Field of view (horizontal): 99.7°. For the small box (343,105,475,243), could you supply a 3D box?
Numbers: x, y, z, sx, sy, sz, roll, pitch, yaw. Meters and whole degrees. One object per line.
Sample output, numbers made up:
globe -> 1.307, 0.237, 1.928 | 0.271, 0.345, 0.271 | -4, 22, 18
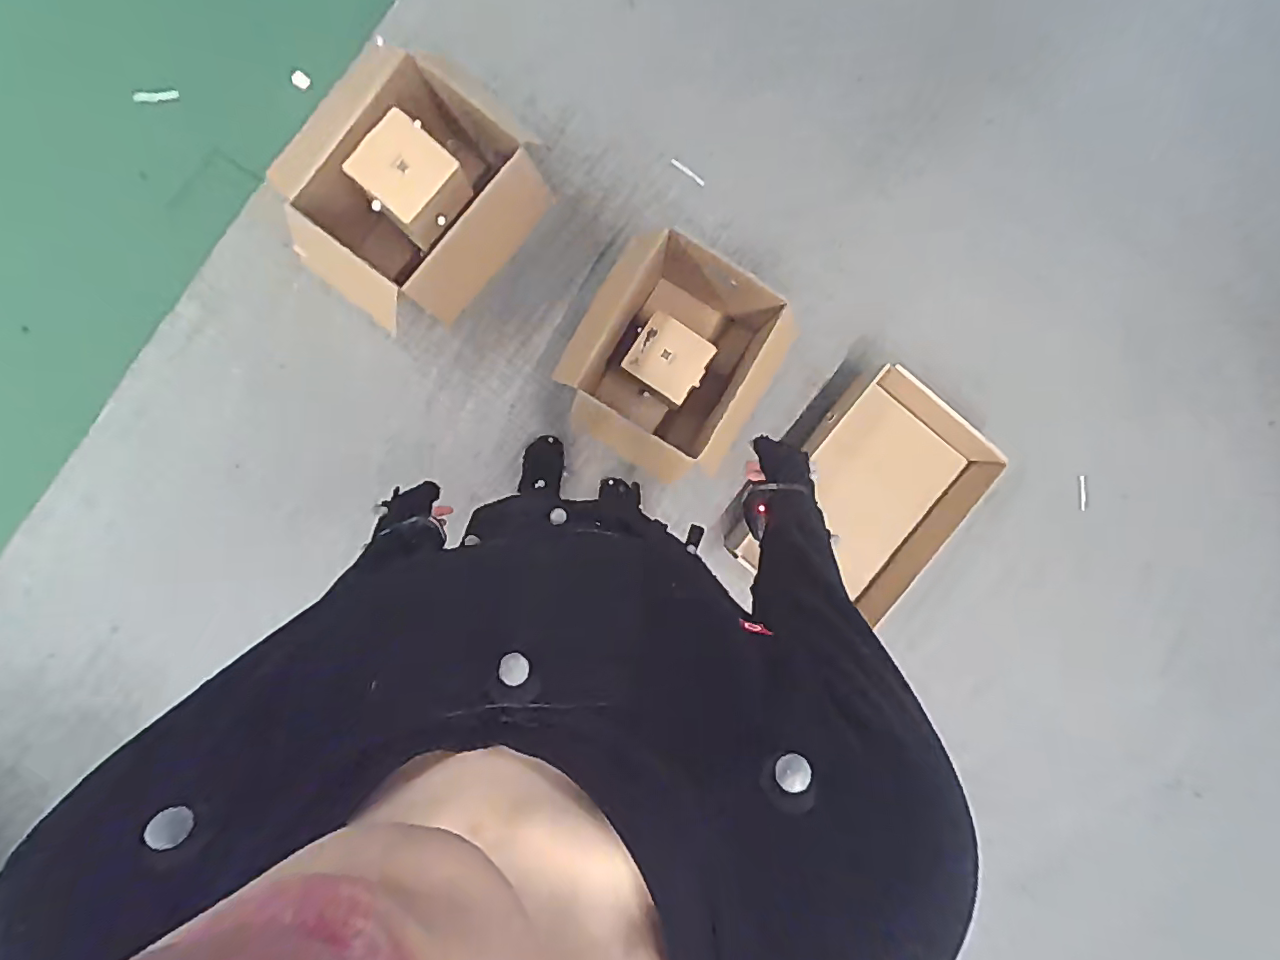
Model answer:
small box -> -0.488, -0.646, 1.175 | 0.179, 0.176, 0.168 | 40, 90, -4
